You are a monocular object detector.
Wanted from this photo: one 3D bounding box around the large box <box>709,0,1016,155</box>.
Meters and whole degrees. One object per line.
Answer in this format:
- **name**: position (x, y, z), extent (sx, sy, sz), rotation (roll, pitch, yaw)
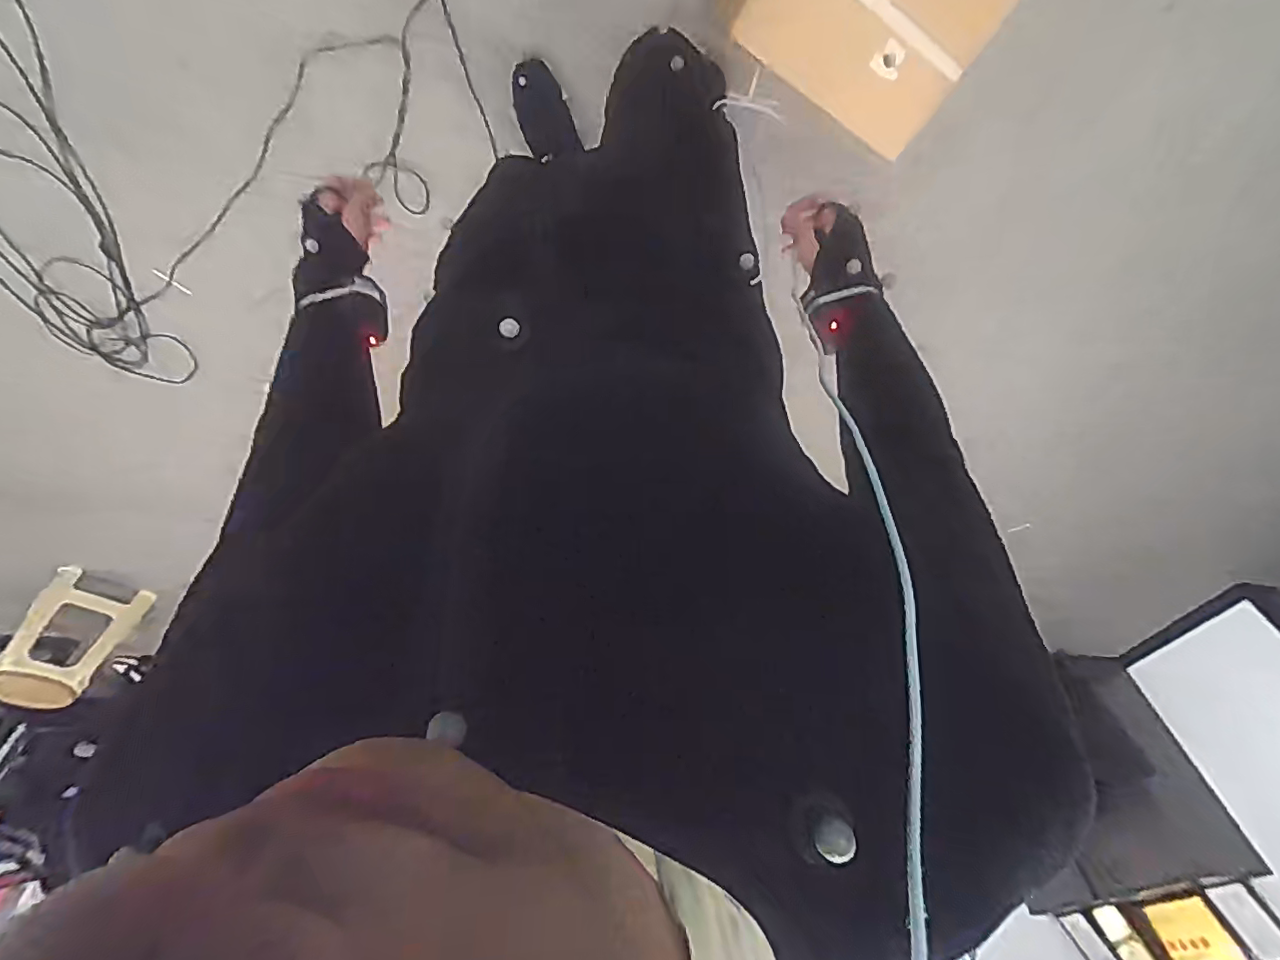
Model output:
- **large box**: position (0.392, -0.895, 1.000), extent (0.408, 0.320, 0.320), rotation (20, 131, -22)
